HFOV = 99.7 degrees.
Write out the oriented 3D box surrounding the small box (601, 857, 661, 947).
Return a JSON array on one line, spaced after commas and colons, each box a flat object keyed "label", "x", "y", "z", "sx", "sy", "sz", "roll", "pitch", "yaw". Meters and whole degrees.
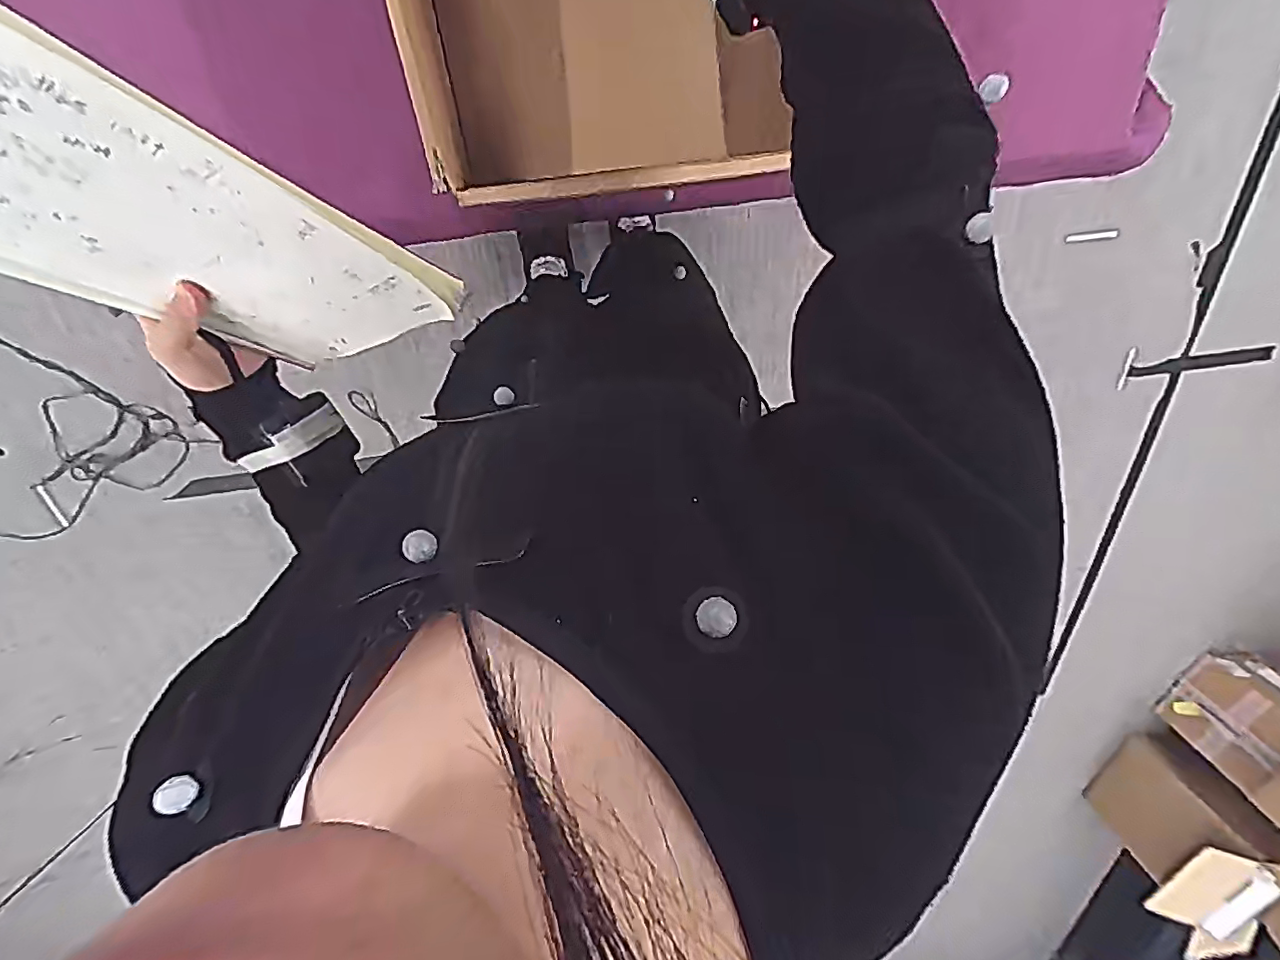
[{"label": "small box", "x": -0.033, "y": 1.370, "z": 1.763, "sx": 0.179, "sy": 0.176, "sz": 0.168, "roll": -6, "pitch": 121, "yaw": -8}]
